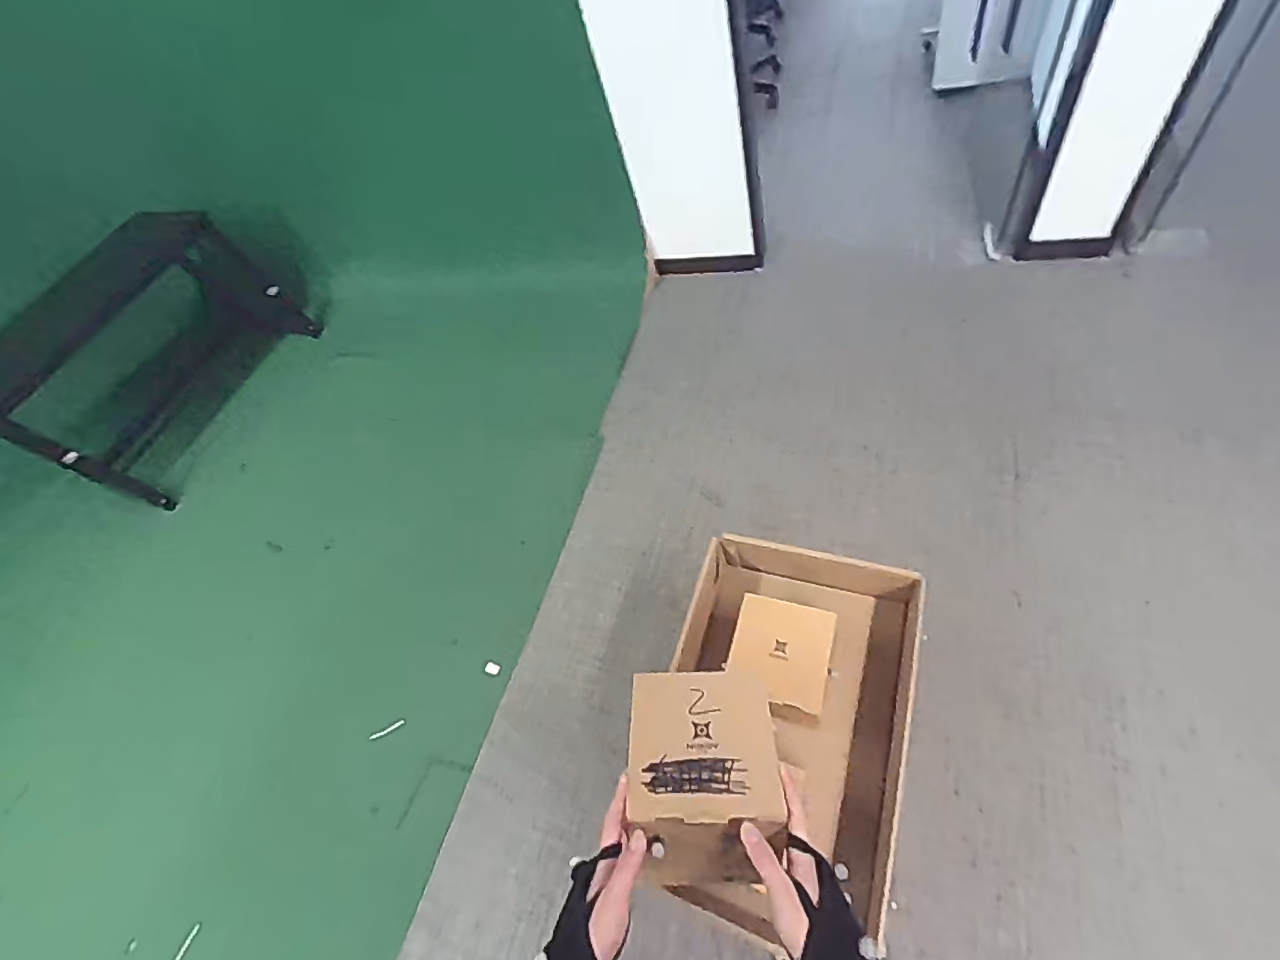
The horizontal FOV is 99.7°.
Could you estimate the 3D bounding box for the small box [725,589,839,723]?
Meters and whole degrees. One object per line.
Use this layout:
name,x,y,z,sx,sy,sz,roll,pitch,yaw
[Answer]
small box,0.266,0.328,1.001,0.168,0.176,0.179,9,63,23

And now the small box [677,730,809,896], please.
small box,0.177,0.539,0.889,0.168,0.176,0.179,10,62,24
